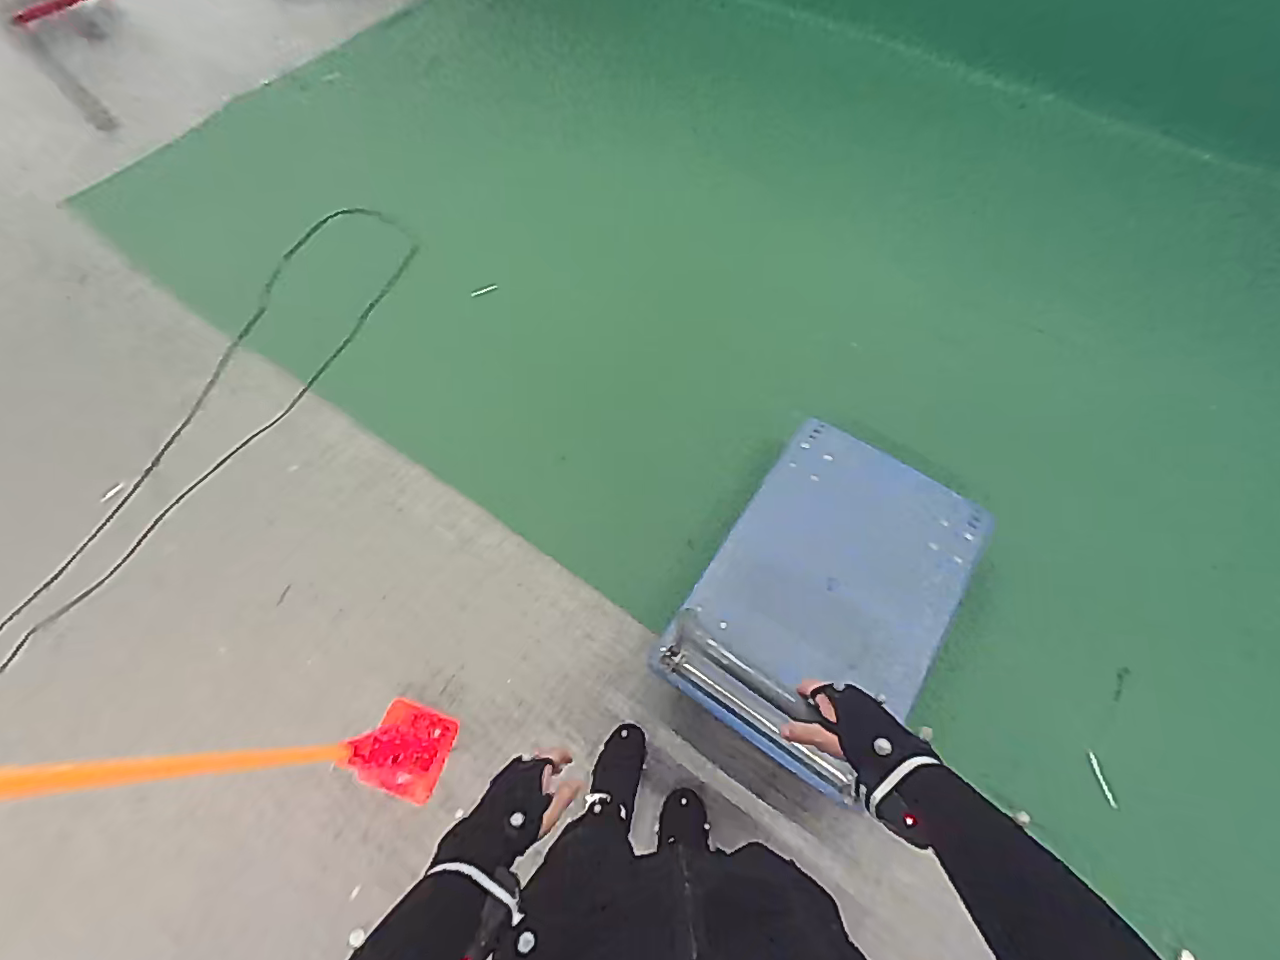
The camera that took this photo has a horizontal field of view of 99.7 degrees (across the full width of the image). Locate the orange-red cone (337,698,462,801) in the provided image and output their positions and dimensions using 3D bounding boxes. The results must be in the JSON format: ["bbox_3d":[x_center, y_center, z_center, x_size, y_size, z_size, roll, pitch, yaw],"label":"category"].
[{"bbox_3d":[-0.584,0.611,1.232,0.199,0.360,0.198,18,66,10],"label":"orange-red cone"}]
